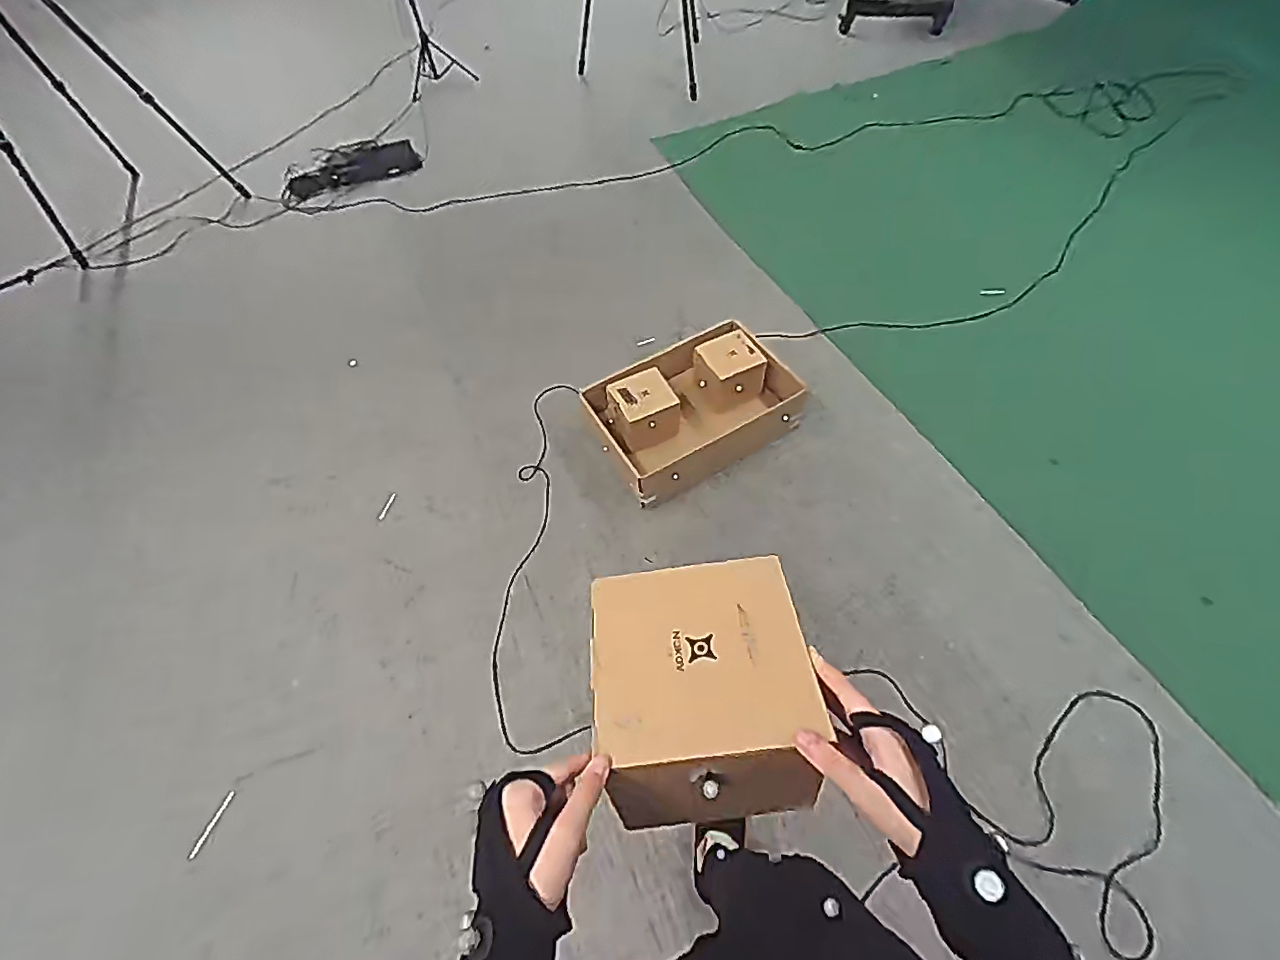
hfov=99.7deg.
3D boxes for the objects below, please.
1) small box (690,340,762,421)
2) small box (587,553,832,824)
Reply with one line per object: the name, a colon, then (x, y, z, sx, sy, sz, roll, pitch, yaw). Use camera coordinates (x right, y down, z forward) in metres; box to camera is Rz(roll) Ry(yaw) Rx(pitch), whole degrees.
small box: (0.281, -0.325, 1.789, 0.179, 0.176, 0.168, -24, 59, -11)
small box: (0.055, 0.190, 0.487, 0.179, 0.176, 0.168, -7, 43, 2)
